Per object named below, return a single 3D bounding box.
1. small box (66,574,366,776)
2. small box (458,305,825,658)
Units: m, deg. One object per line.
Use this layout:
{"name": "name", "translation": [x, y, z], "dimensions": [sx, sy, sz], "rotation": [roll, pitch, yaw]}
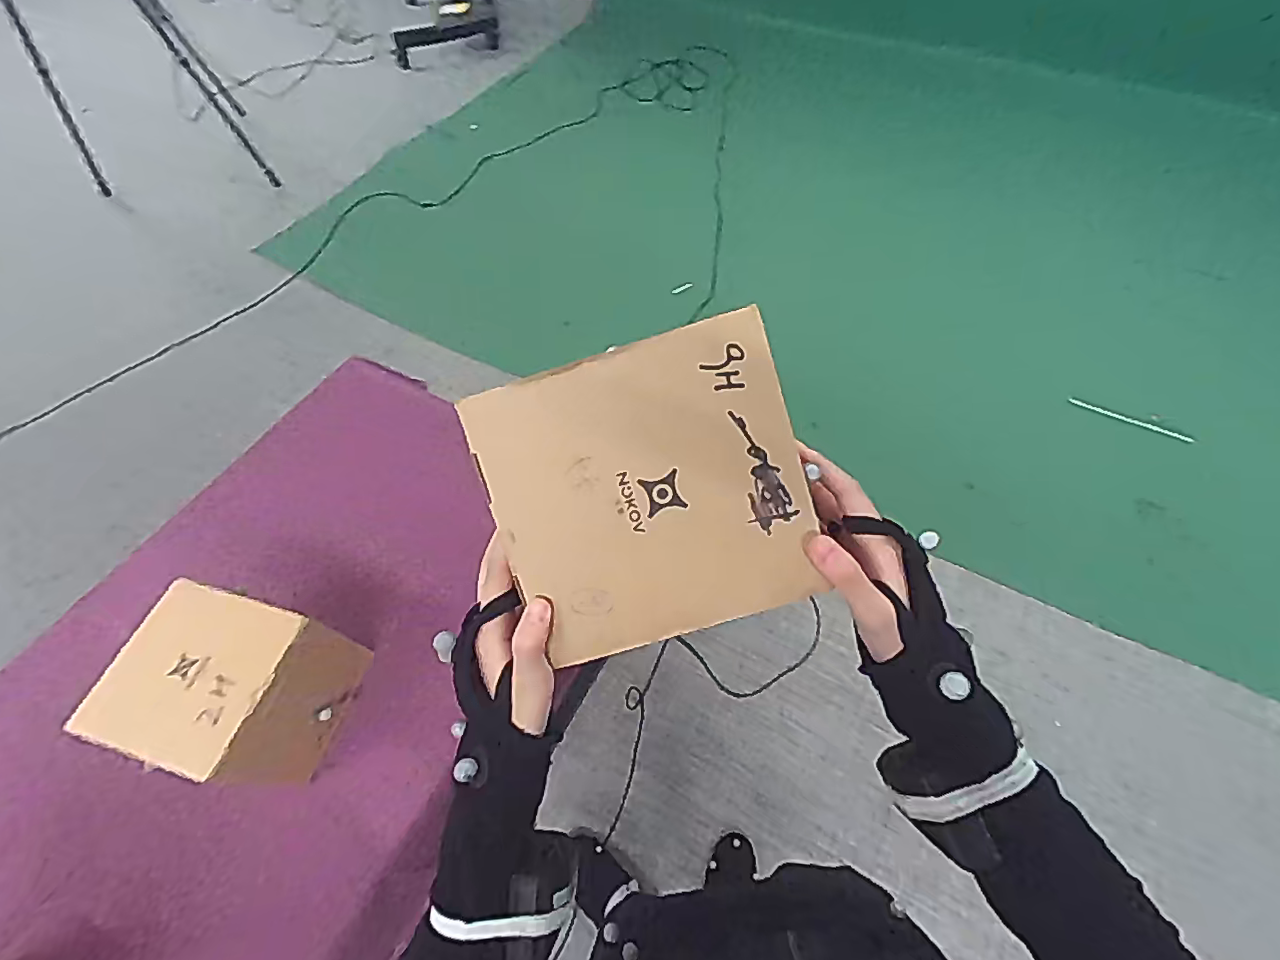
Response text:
{"name": "small box", "translation": [-0.469, 0.234, 0.632], "dimensions": [0.179, 0.176, 0.168], "rotation": [14, 61, 10]}
{"name": "small box", "translation": [0.006, -0.004, 0.380], "dimensions": [0.179, 0.176, 0.168], "rotation": [-15, 97, 5]}
